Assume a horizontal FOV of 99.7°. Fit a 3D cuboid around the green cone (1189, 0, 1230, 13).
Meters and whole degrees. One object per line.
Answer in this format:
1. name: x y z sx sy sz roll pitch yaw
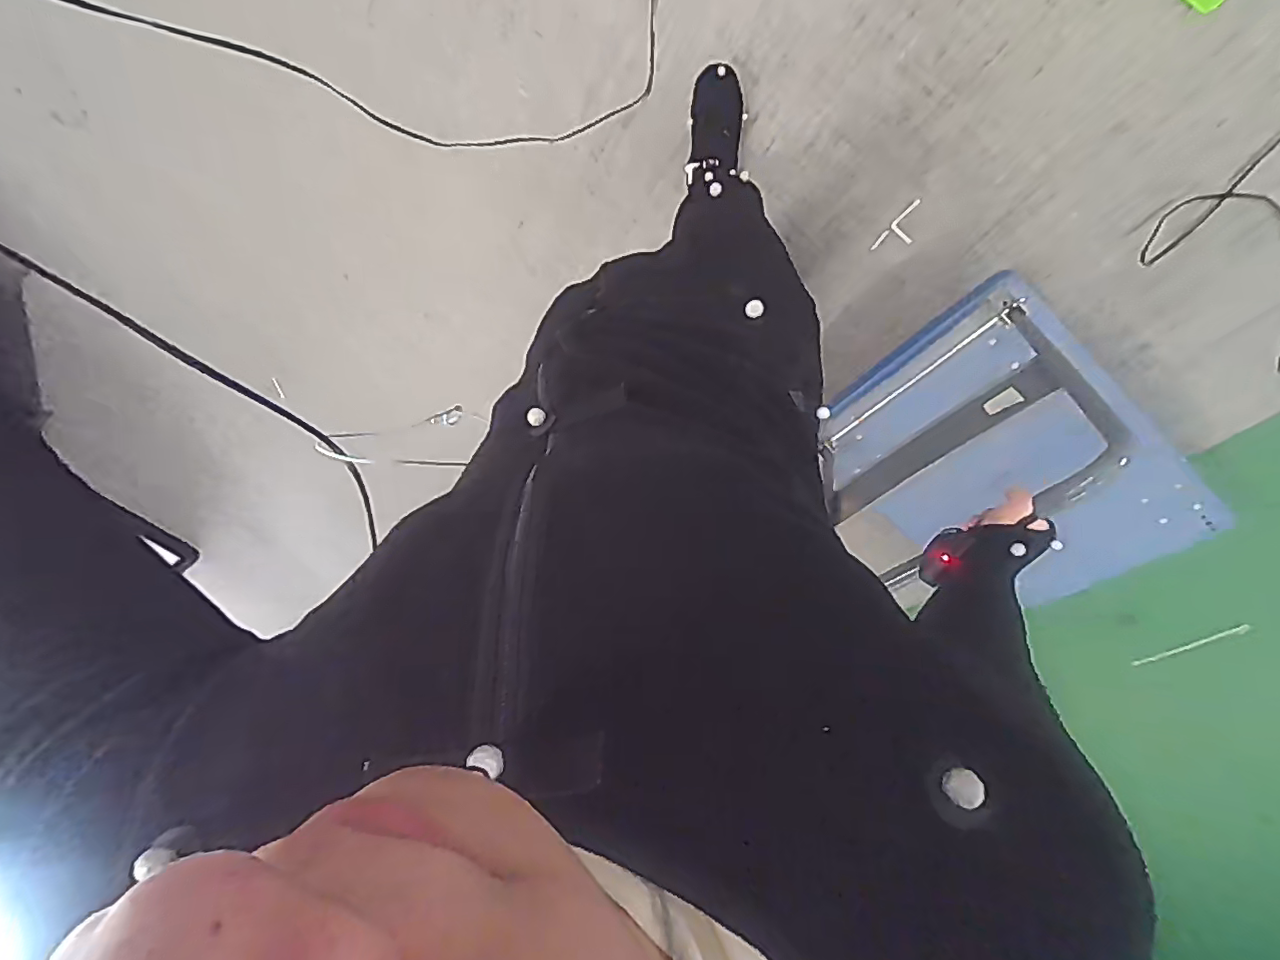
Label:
1. green cone: 0.917 -0.816 0.729 0.200 0.368 0.202 32 126 -8
